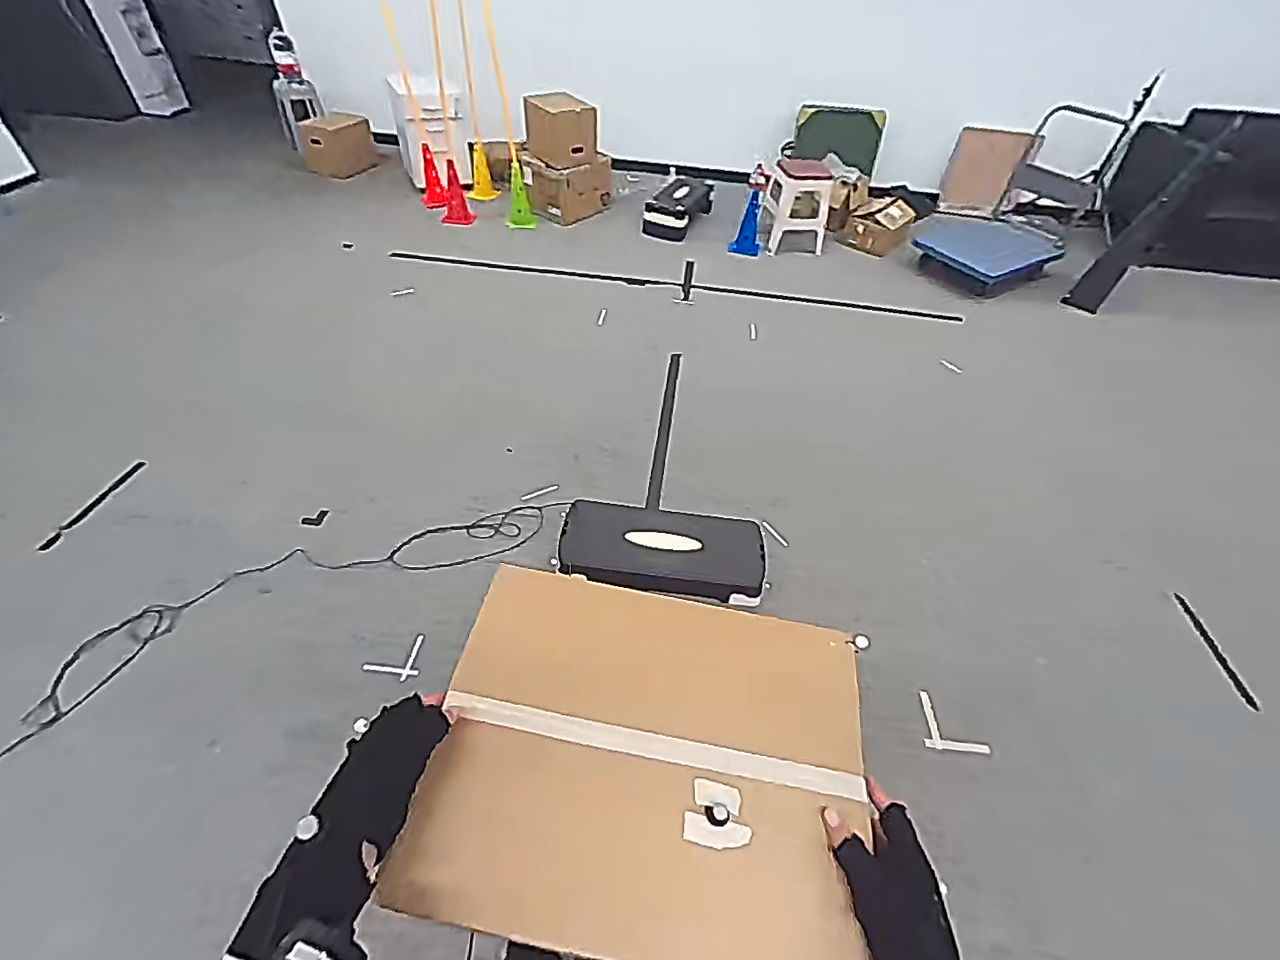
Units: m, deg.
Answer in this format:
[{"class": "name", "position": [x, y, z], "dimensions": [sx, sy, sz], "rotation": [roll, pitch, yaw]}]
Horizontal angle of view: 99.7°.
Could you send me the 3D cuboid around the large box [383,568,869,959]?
[{"class": "large box", "position": [-0.006, 0.342, 0.636], "dimensions": [0.408, 0.320, 0.320], "rotation": [11, 51, 2]}]
